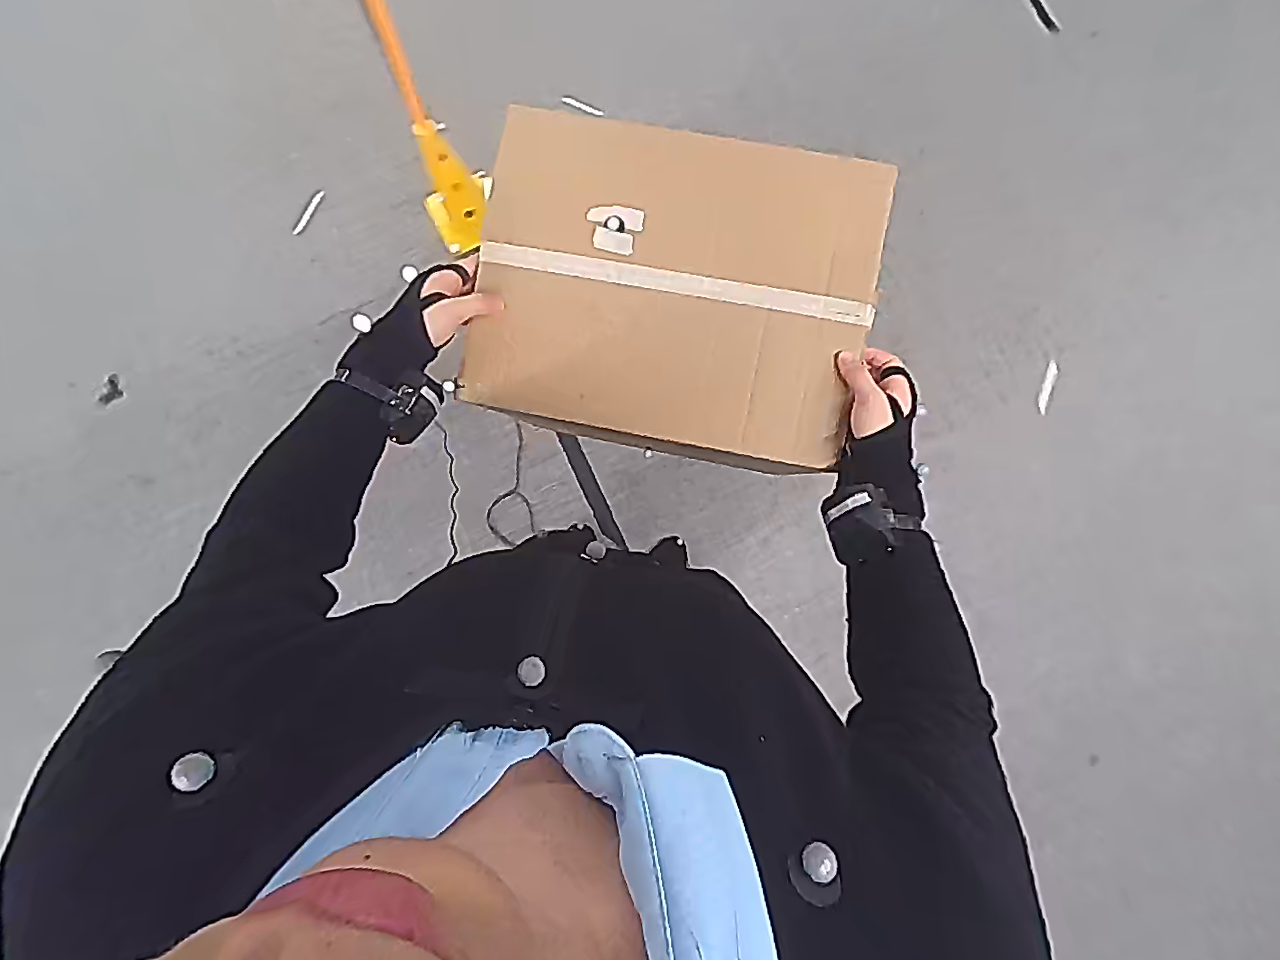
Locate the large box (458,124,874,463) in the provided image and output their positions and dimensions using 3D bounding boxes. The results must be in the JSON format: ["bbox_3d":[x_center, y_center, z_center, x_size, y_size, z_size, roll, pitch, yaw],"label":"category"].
[{"bbox_3d":[0.035,-0.202,0.712,0.408,0.320,0.320,10,90,5],"label":"large box"}]
